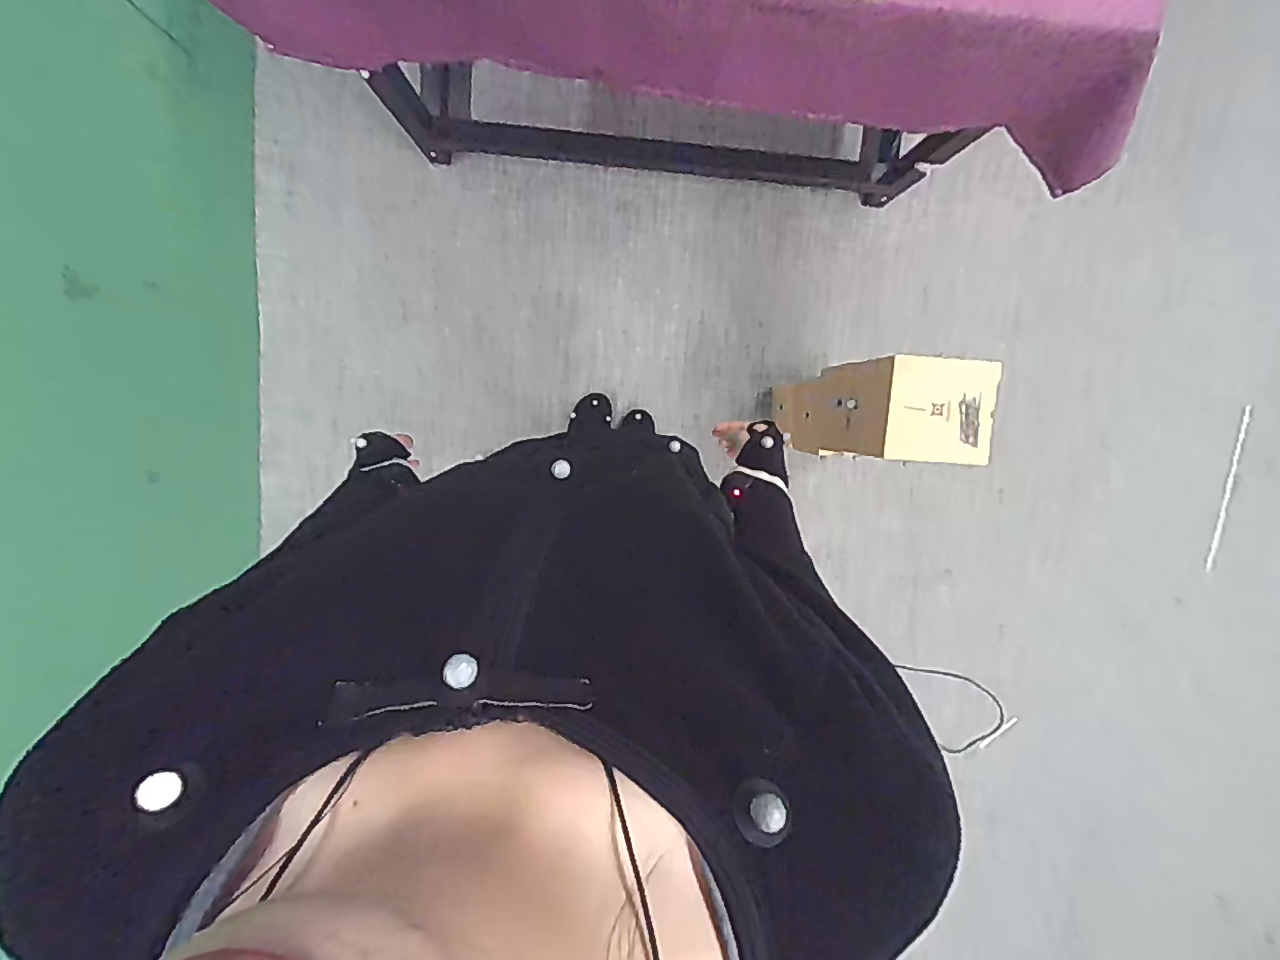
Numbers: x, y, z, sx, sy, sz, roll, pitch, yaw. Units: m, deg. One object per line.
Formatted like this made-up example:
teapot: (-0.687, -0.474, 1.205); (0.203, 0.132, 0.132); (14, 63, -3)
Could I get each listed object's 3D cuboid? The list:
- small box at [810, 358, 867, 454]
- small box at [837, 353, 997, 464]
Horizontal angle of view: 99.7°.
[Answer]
small box: (0.460, -0.143, 1.099); (0.168, 0.176, 0.179); (6, 97, -3)
small box: (0.467, -0.123, 0.936); (0.179, 0.176, 0.168); (4, 97, -3)
